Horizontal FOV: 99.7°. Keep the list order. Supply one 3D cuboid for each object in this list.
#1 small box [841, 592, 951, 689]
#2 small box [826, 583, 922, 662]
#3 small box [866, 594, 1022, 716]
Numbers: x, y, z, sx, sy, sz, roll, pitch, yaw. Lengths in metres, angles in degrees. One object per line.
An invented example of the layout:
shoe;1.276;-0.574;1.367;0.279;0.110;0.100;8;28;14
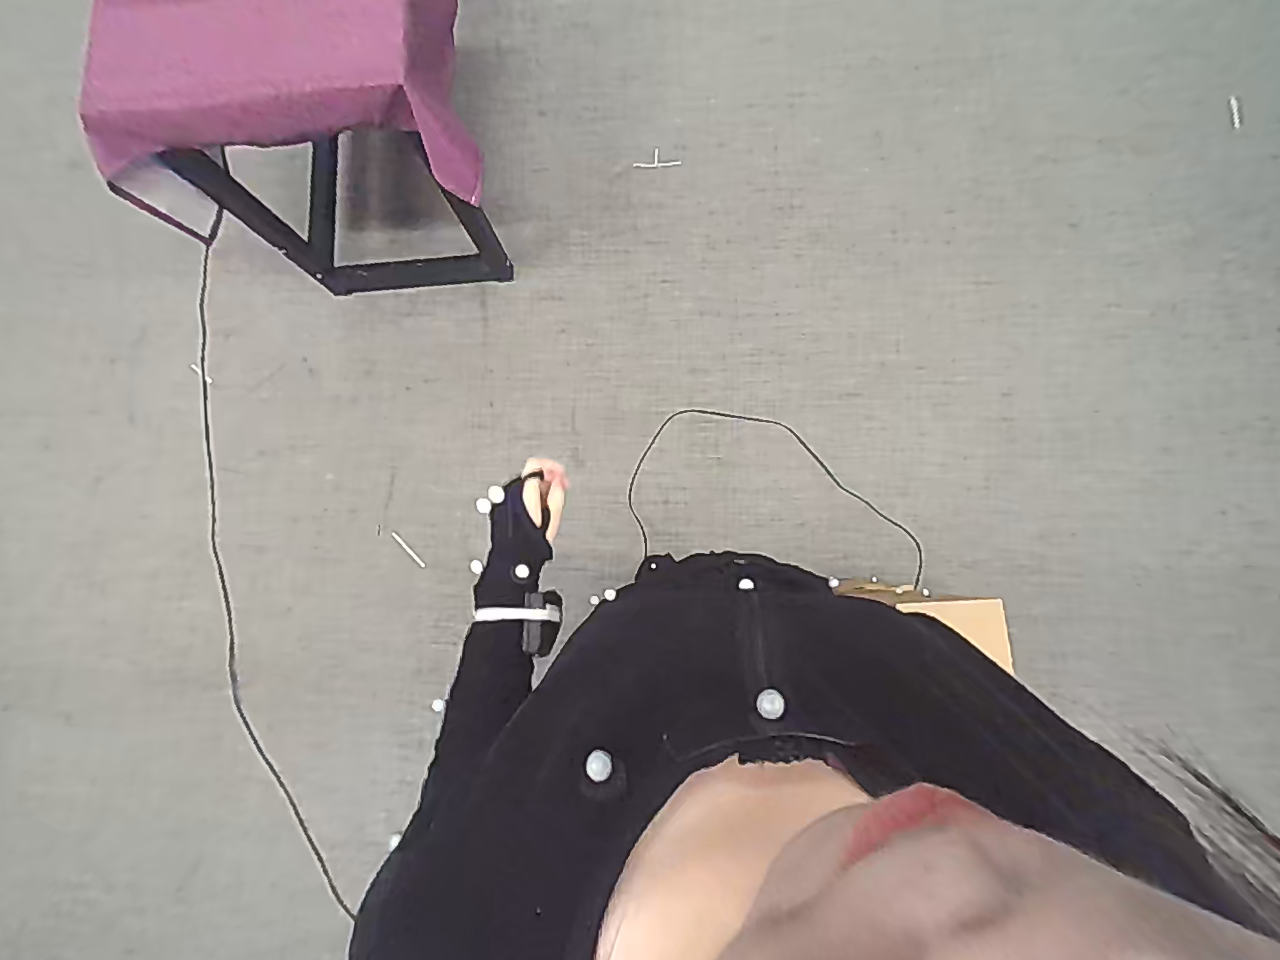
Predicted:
small box;0.509;0.310;1.069;0.179;0.176;0.168;-3;81;3
small box;0.532;0.328;1.230;0.168;0.176;0.179;-4;82;4
small box;0.494;0.283;0.907;0.168;0.176;0.179;-3;81;4
